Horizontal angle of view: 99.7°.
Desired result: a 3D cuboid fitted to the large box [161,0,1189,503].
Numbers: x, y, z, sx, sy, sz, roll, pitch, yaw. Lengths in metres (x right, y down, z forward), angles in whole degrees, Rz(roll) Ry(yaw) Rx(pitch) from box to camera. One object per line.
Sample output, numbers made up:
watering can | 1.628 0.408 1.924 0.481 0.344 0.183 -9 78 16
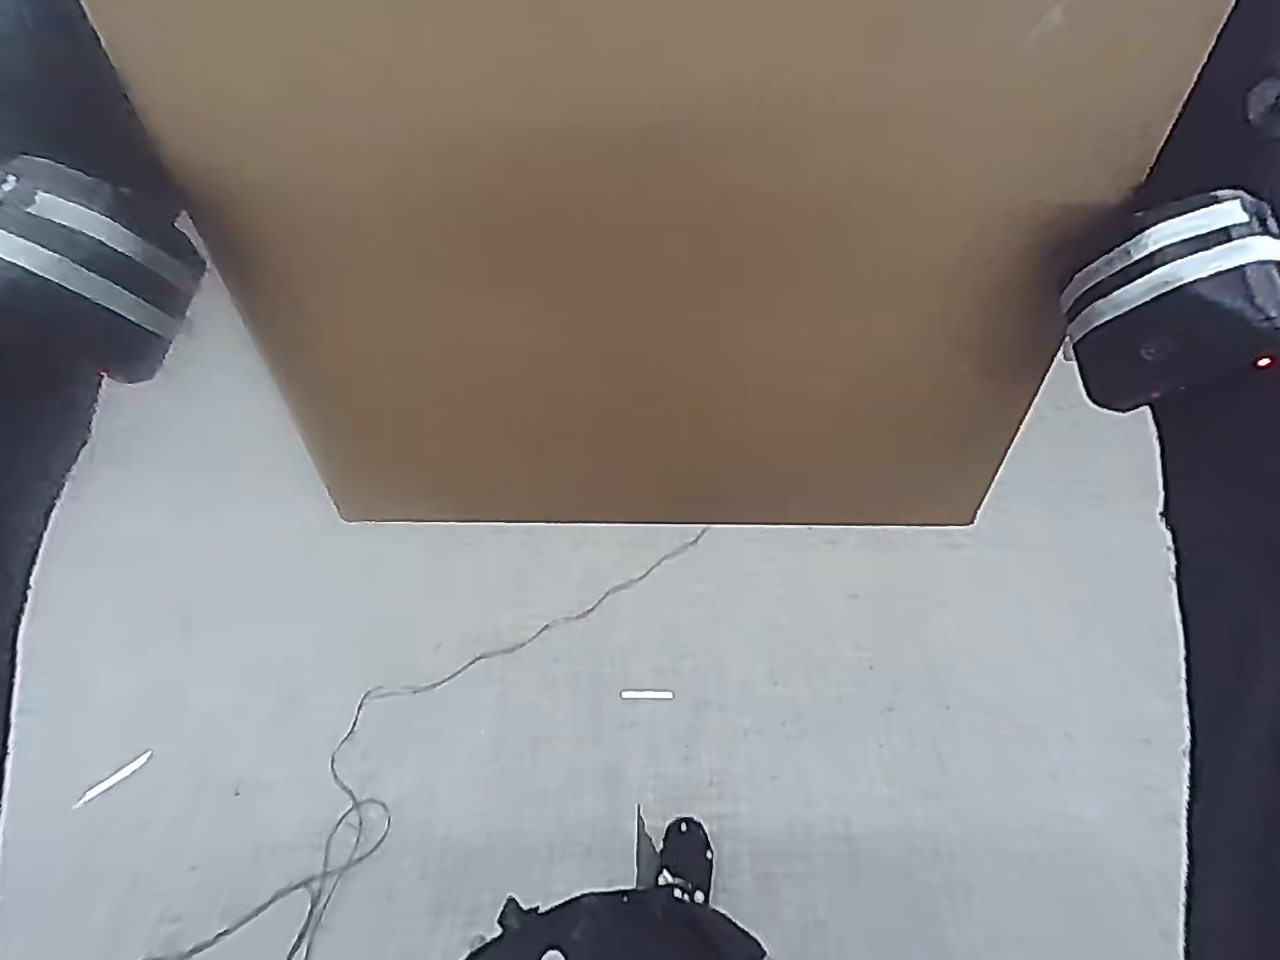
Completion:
large box | 0.013 -0.193 0.383 0.408 0.320 0.320 1 39 1
